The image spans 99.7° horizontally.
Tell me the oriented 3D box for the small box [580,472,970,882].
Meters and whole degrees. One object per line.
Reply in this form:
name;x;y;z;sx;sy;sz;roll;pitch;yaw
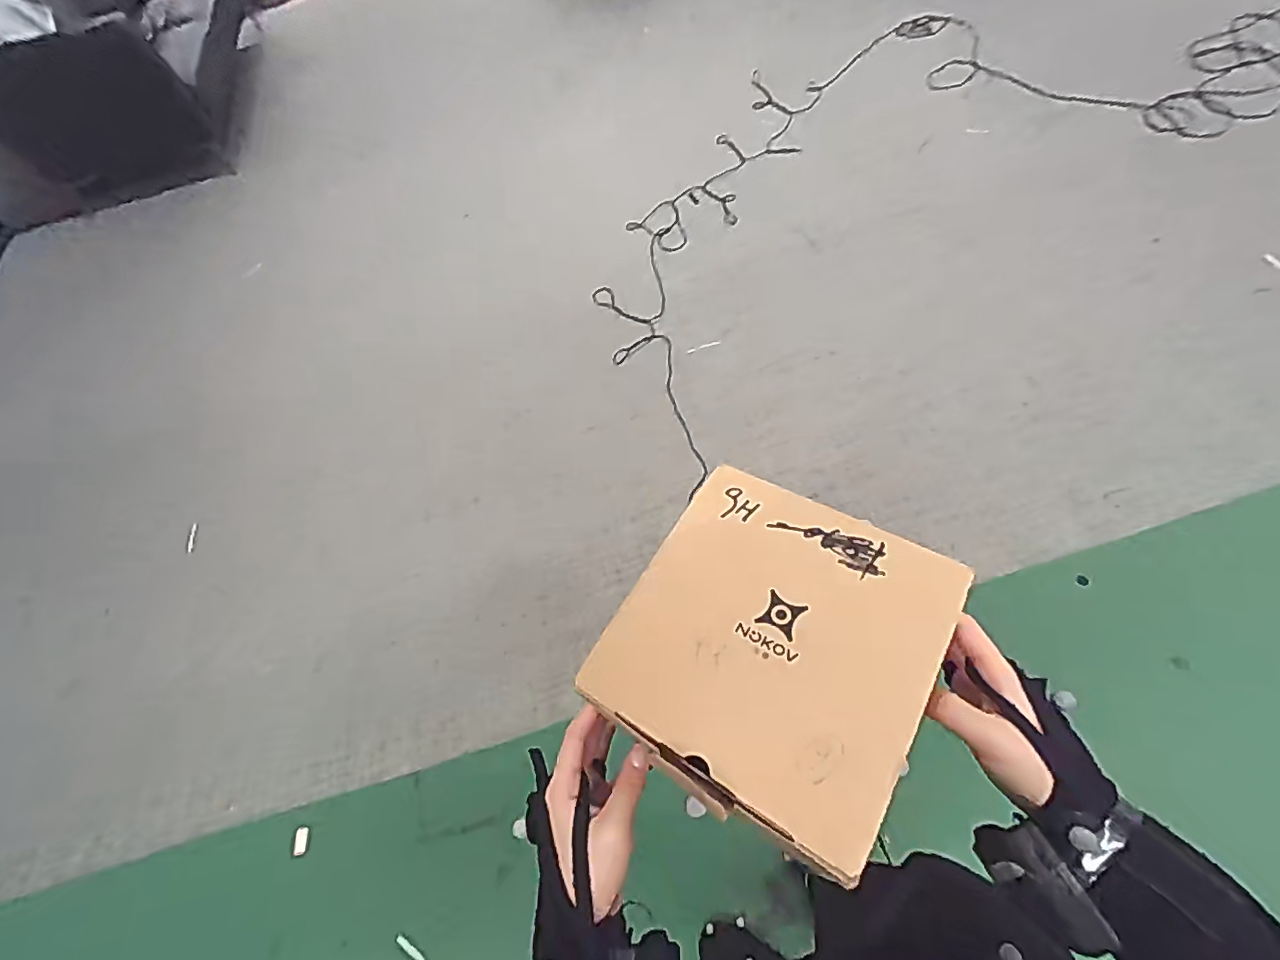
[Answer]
small box;0.091;0.132;0.375;0.168;0.176;0.179;26;65;25
